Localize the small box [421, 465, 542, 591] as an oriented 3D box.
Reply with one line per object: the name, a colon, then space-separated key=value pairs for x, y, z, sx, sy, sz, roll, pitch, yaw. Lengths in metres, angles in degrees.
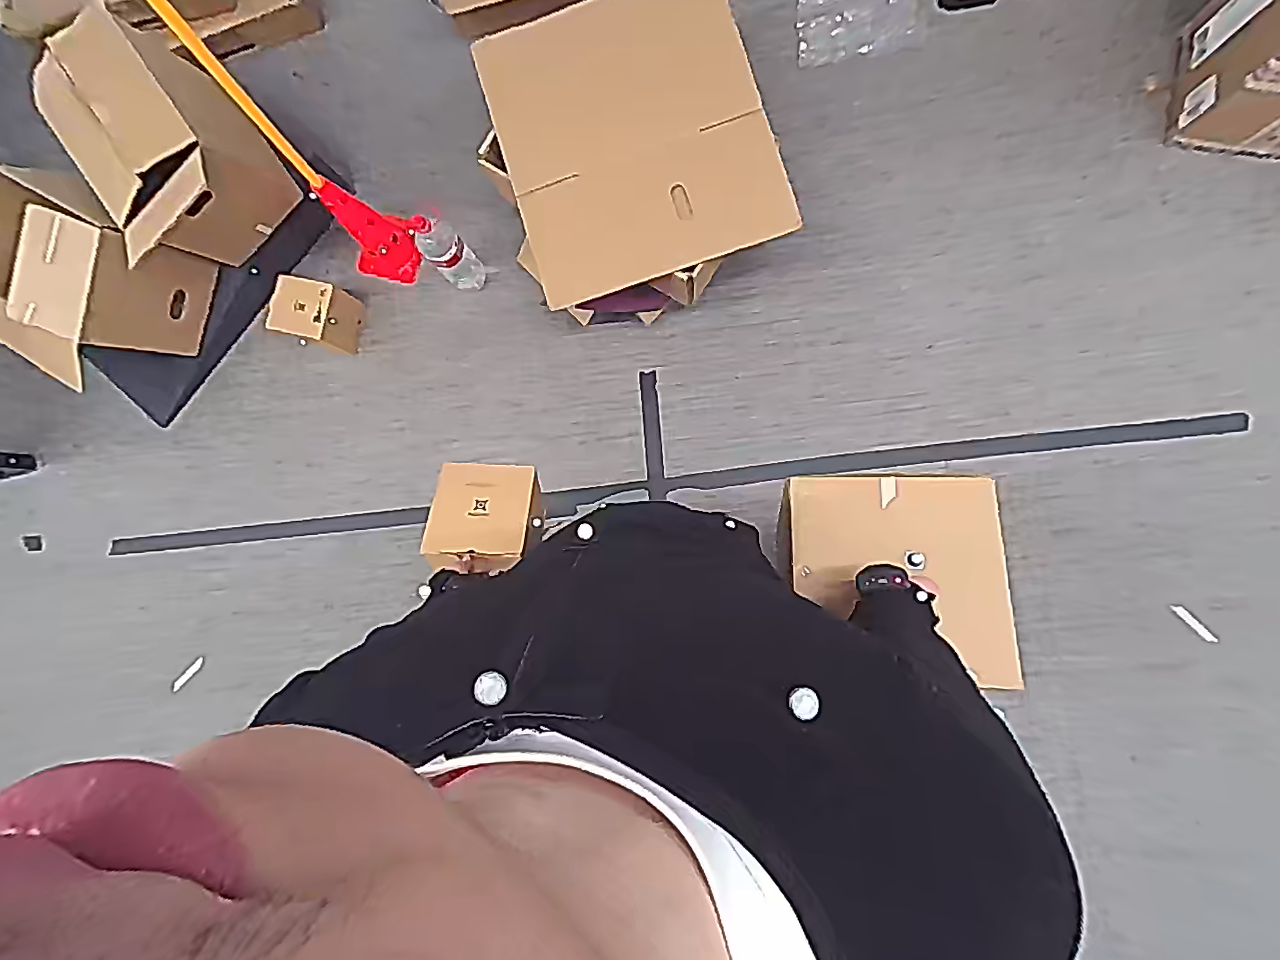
small box: x=-0.277 y=0.093 z=0.992 sx=0.168 sy=0.176 sz=0.179 roll=3 pitch=56 yaw=-2
